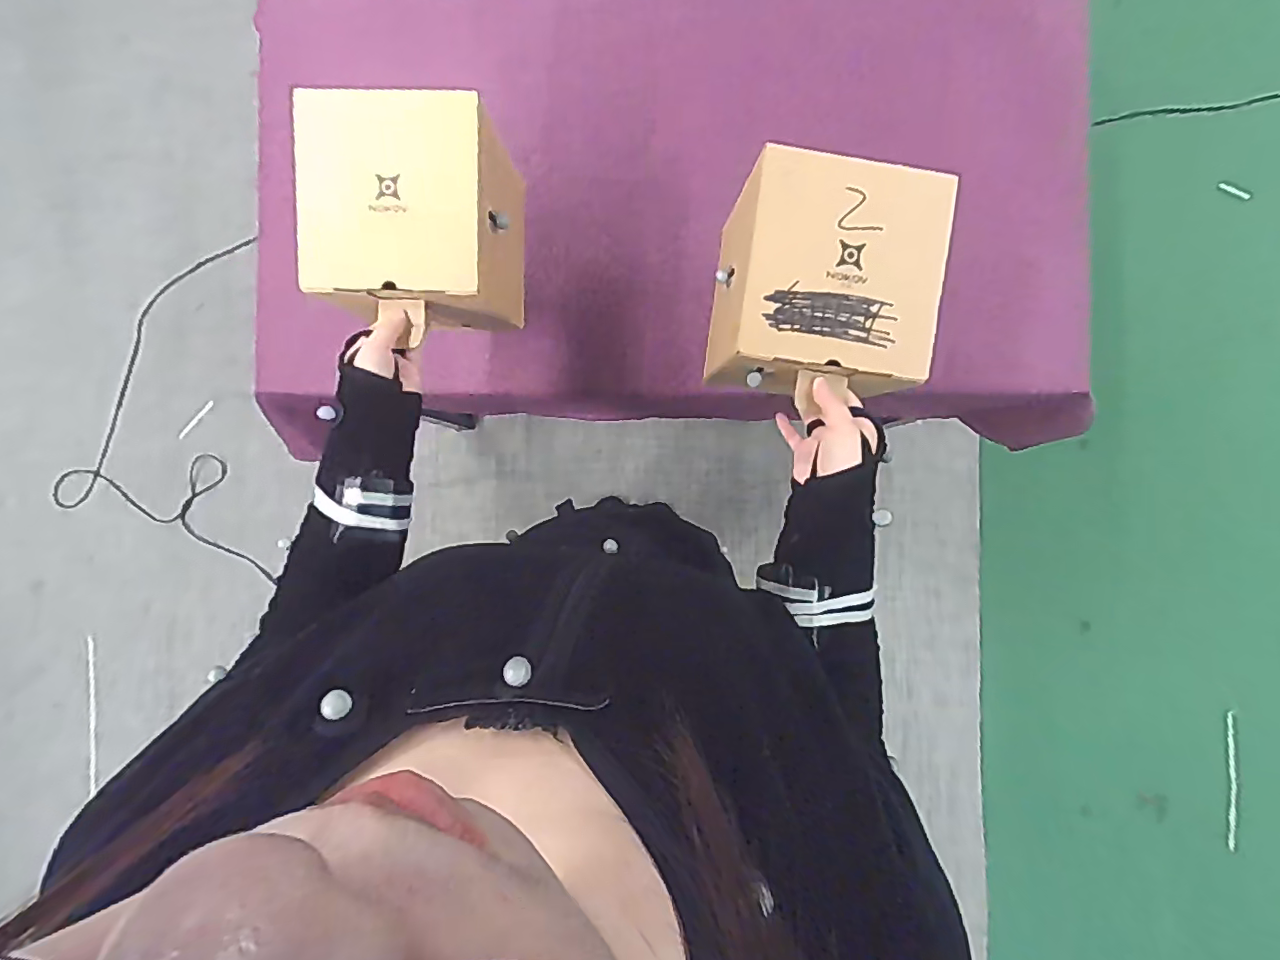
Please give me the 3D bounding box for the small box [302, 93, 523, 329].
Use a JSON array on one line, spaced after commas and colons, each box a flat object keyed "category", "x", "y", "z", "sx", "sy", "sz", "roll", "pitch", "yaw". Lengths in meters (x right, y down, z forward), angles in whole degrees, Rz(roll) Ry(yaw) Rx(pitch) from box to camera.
[{"category": "small box", "x": -0.225, "y": -0.267, "z": 0.573, "sx": 0.168, "sy": 0.176, "sz": 0.179, "roll": 2, "pitch": 96, "yaw": 1}]
